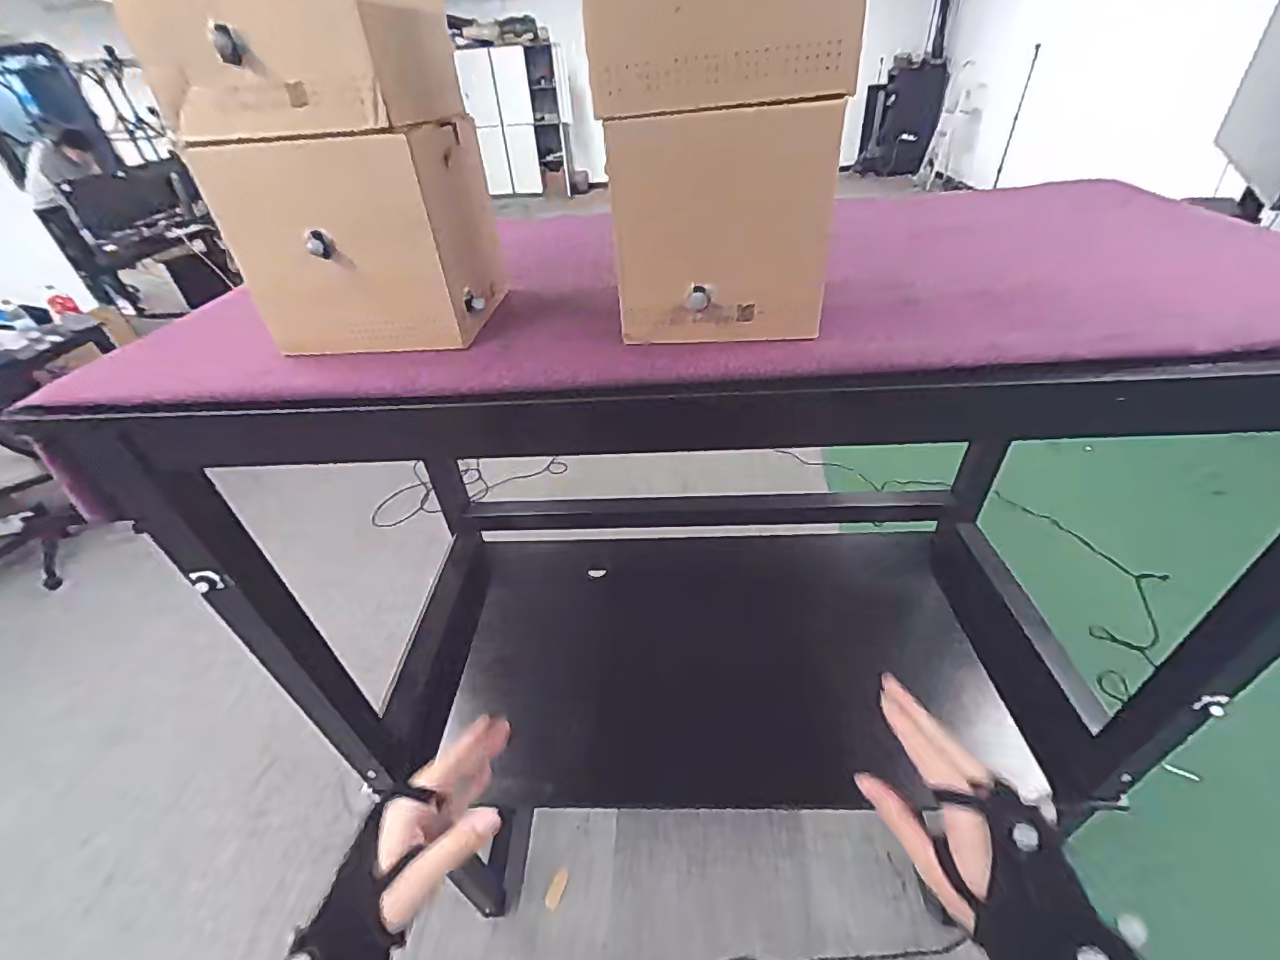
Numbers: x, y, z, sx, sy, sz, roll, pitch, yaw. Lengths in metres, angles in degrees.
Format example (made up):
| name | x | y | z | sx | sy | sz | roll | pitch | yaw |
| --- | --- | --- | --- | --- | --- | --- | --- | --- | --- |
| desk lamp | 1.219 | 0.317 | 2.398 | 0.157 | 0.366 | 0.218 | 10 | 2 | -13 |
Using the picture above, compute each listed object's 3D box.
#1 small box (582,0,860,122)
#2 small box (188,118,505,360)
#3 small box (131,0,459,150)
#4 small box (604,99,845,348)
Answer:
| name | x | y | z | sx | sy | sz | roll | pitch | yaw |
| --- | --- | --- | --- | --- | --- | --- | --- | --- | --- |
| small box | 0.052 | -0.357 | 0.377 | 0.179 | 0.176 | 0.168 | -2 | 37 | 6 |
| small box | -0.239 | -0.223 | 0.502 | 0.179 | 0.176 | 0.168 | -2 | 37 | 5 |
| small box | -0.254 | -0.358 | 0.413 | 0.168 | 0.176 | 0.179 | -2 | 37 | 4 |
| small box | 0.068 | -0.229 | 0.478 | 0.168 | 0.176 | 0.179 | -1 | 38 | 7 |
